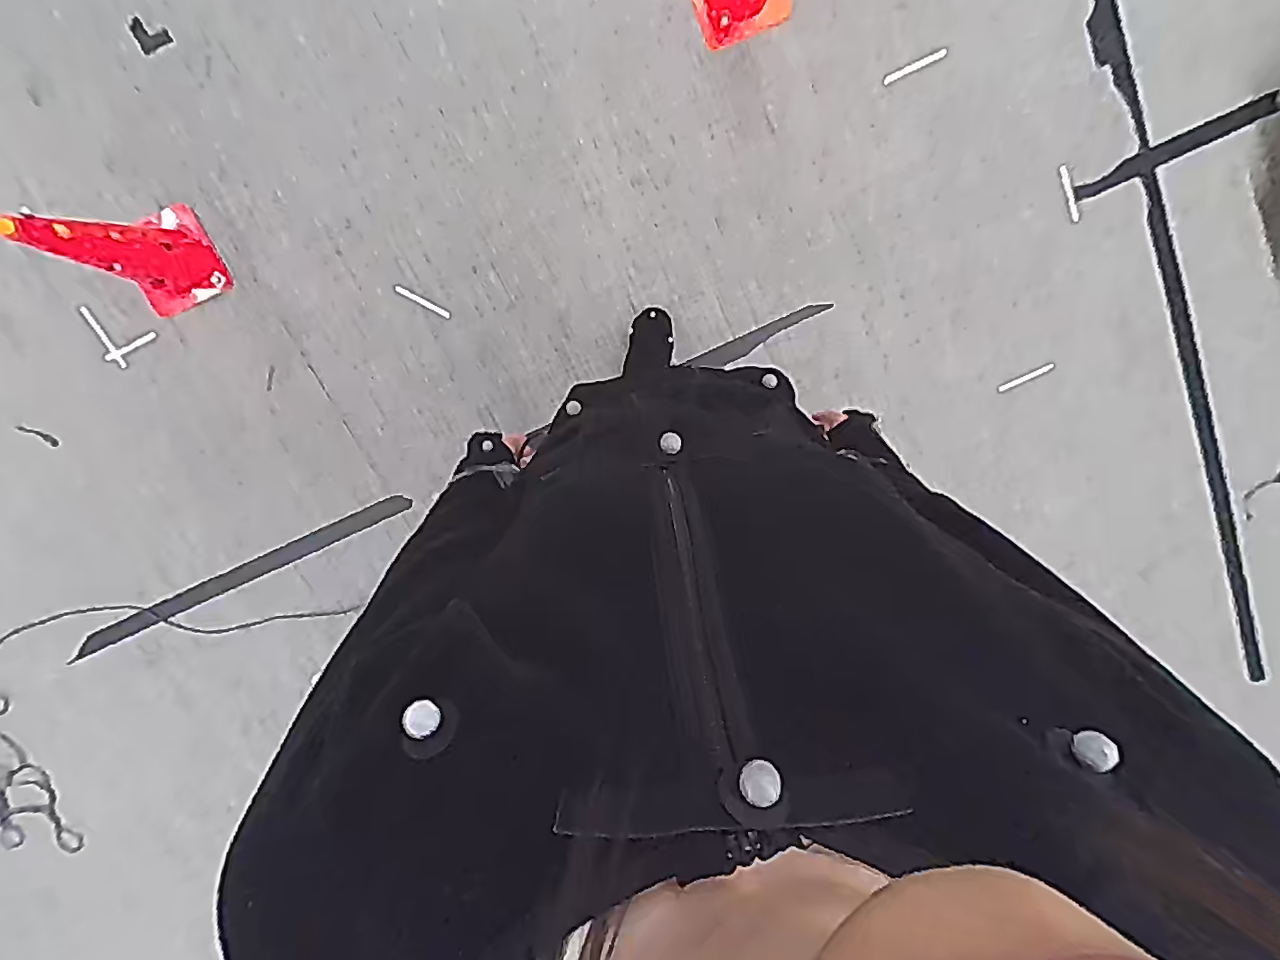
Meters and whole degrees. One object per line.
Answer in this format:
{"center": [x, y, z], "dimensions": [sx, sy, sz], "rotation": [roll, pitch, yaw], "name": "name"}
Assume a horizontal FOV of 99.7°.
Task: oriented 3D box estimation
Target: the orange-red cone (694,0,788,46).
{"center": [0.217, -1.036, 1.002], "dimensions": [0.199, 0.360, 0.198], "rotation": [-22, 103, 1], "name": "orange-red cone"}
